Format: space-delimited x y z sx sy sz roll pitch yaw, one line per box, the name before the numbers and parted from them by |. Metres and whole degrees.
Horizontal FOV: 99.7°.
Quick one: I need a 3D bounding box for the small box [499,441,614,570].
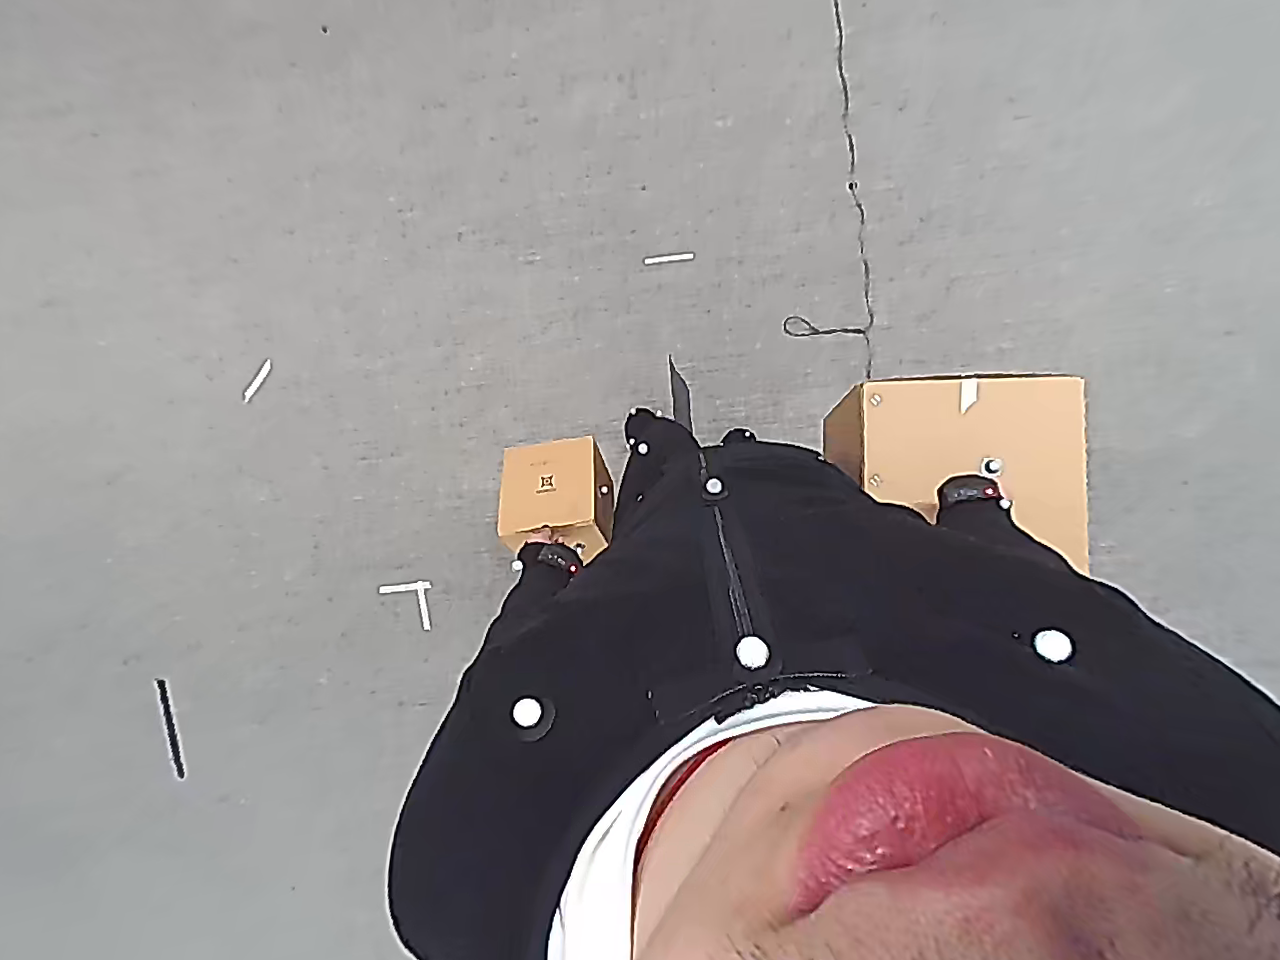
small box | -0.144 0.055 0.992 0.168 0.176 0.179 -8 56 6
